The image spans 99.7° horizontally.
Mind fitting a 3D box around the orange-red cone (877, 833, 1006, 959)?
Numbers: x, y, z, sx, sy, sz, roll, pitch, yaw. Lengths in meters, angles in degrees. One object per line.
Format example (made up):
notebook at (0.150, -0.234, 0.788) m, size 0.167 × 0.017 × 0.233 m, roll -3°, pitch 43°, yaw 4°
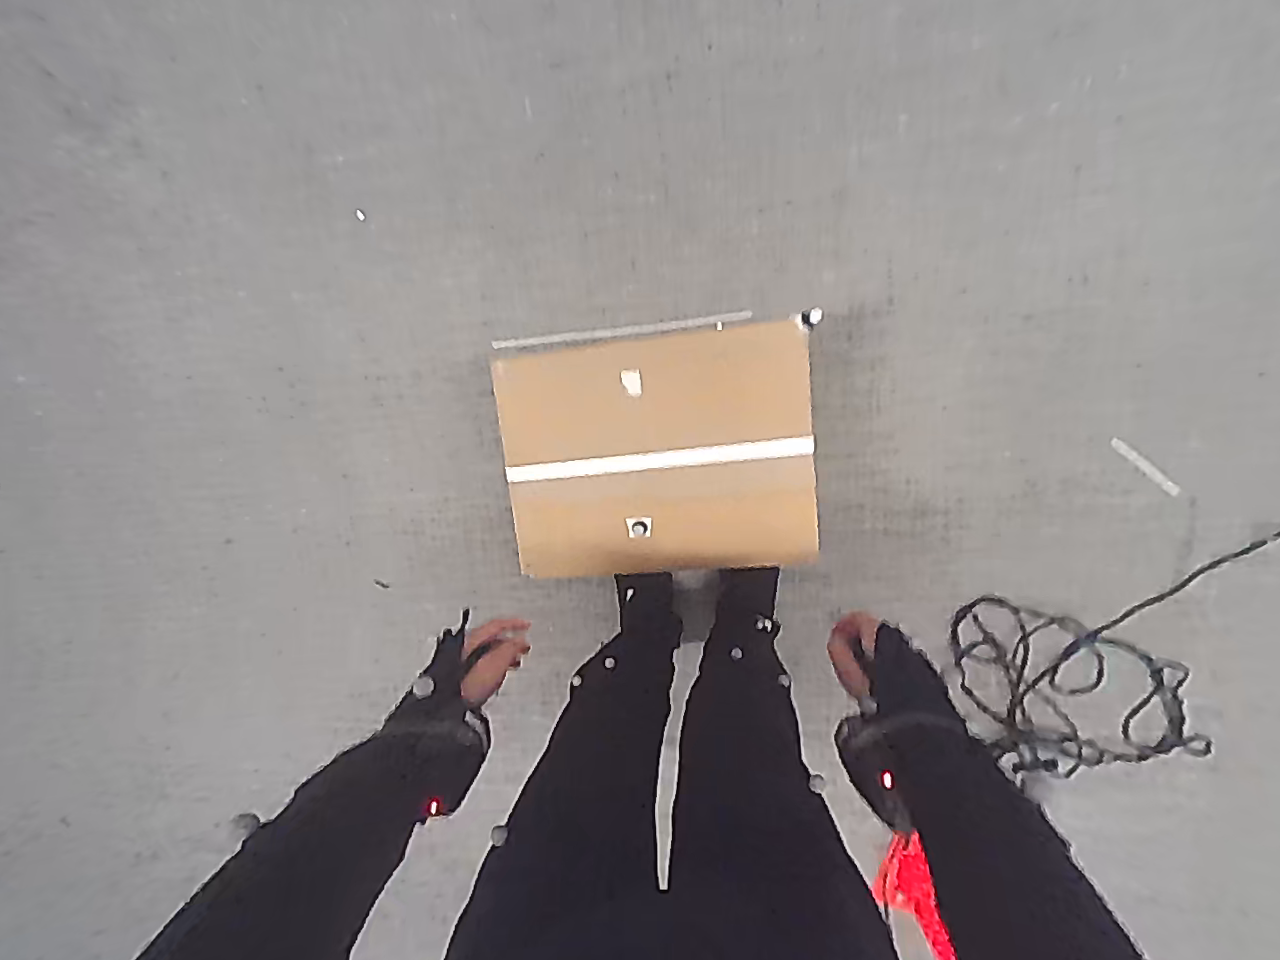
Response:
orange-red cone at (0.566, 0.830, 0.899) m, size 0.199 × 0.360 × 0.198 m, roll 16°, pitch 104°, yaw 5°
